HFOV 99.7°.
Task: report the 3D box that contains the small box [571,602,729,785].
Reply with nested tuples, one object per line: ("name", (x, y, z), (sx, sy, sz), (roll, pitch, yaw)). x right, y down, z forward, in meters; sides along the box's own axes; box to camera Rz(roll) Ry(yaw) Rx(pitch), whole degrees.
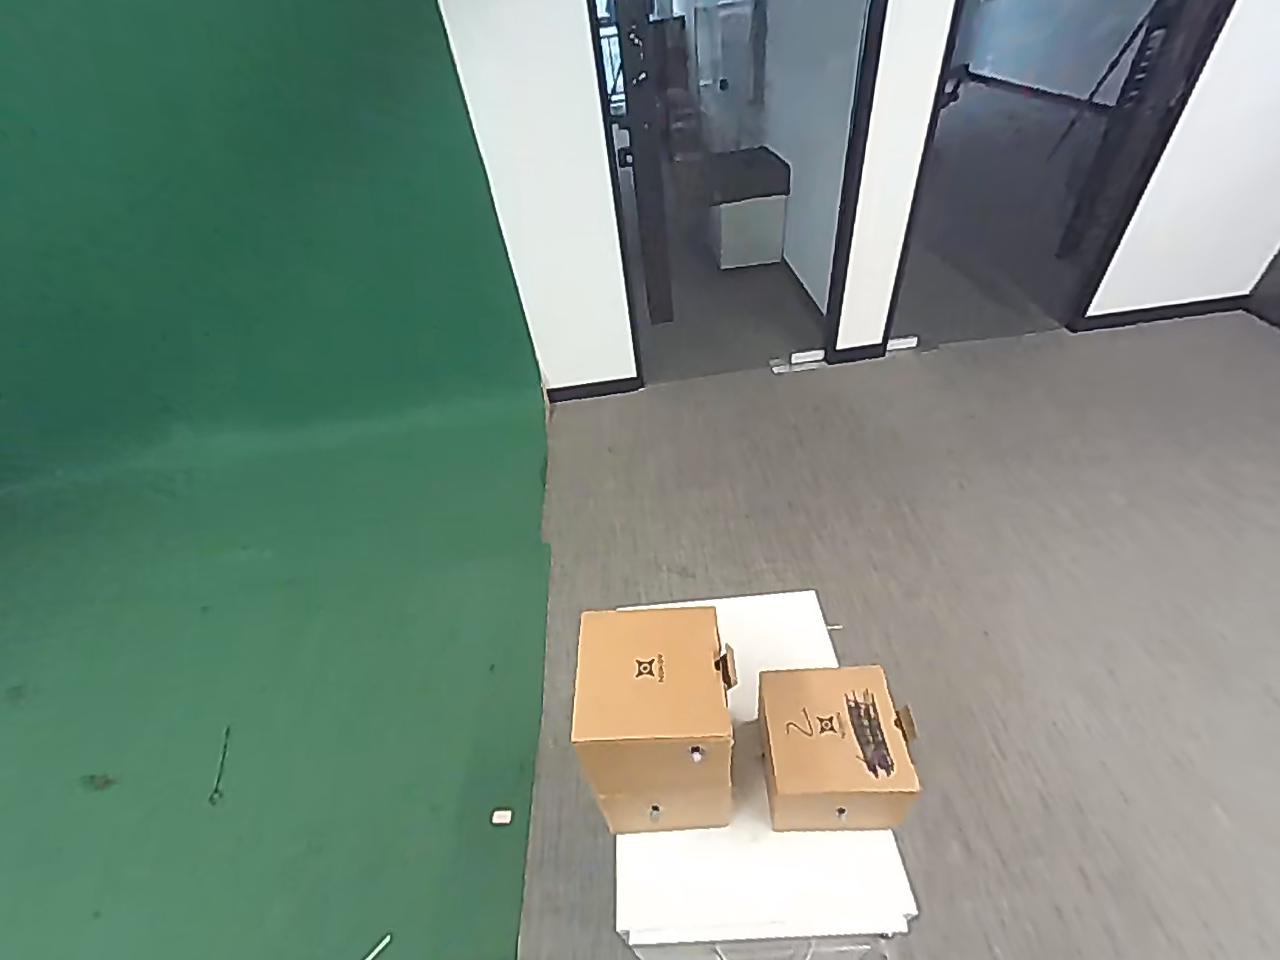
("small box", (0.017, 0.277, 0.696), (0.179, 0.176, 0.168), (-3, 42, 2))

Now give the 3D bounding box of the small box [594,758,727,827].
("small box", (0.032, 0.398, 0.805), (0.179, 0.176, 0.168), (-5, 43, 2))
